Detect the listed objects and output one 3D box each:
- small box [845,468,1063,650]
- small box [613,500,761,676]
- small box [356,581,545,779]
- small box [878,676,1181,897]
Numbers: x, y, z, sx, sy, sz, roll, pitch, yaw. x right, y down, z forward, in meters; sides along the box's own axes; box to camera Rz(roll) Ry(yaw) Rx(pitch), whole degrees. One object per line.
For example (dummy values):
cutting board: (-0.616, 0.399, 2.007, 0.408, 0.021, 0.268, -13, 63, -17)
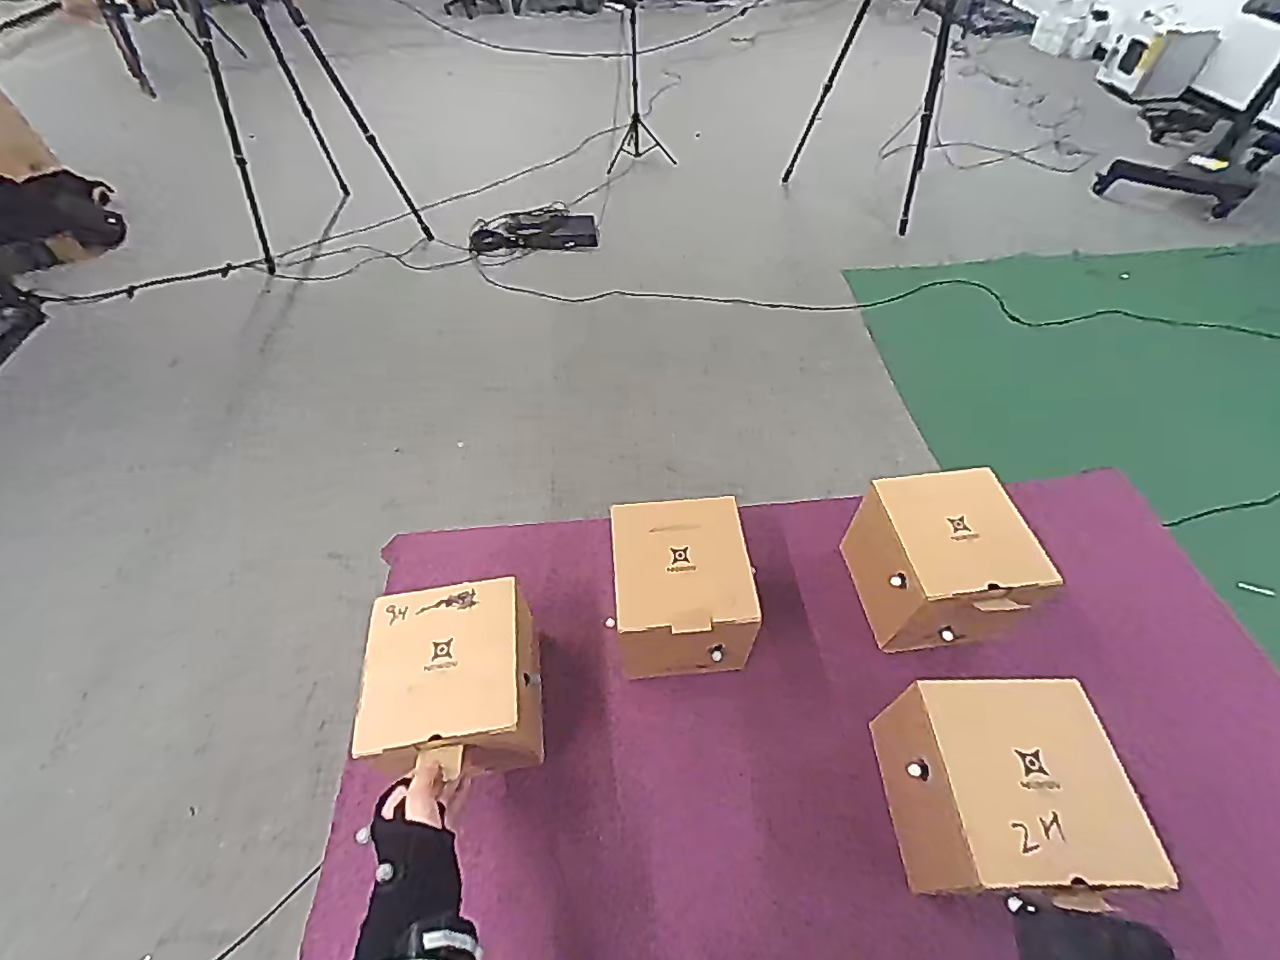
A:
small box: (0.401, 0.109, 0.732, 0.168, 0.176, 0.179, -7, 52, -3)
small box: (0.054, 0.149, 0.718, 0.168, 0.176, 0.179, -4, 52, -2)
small box: (-0.212, 0.247, 0.652, 0.168, 0.176, 0.179, -8, 53, -5)
small box: (0.371, 0.321, 0.564, 0.168, 0.176, 0.179, -2, 52, 2)
